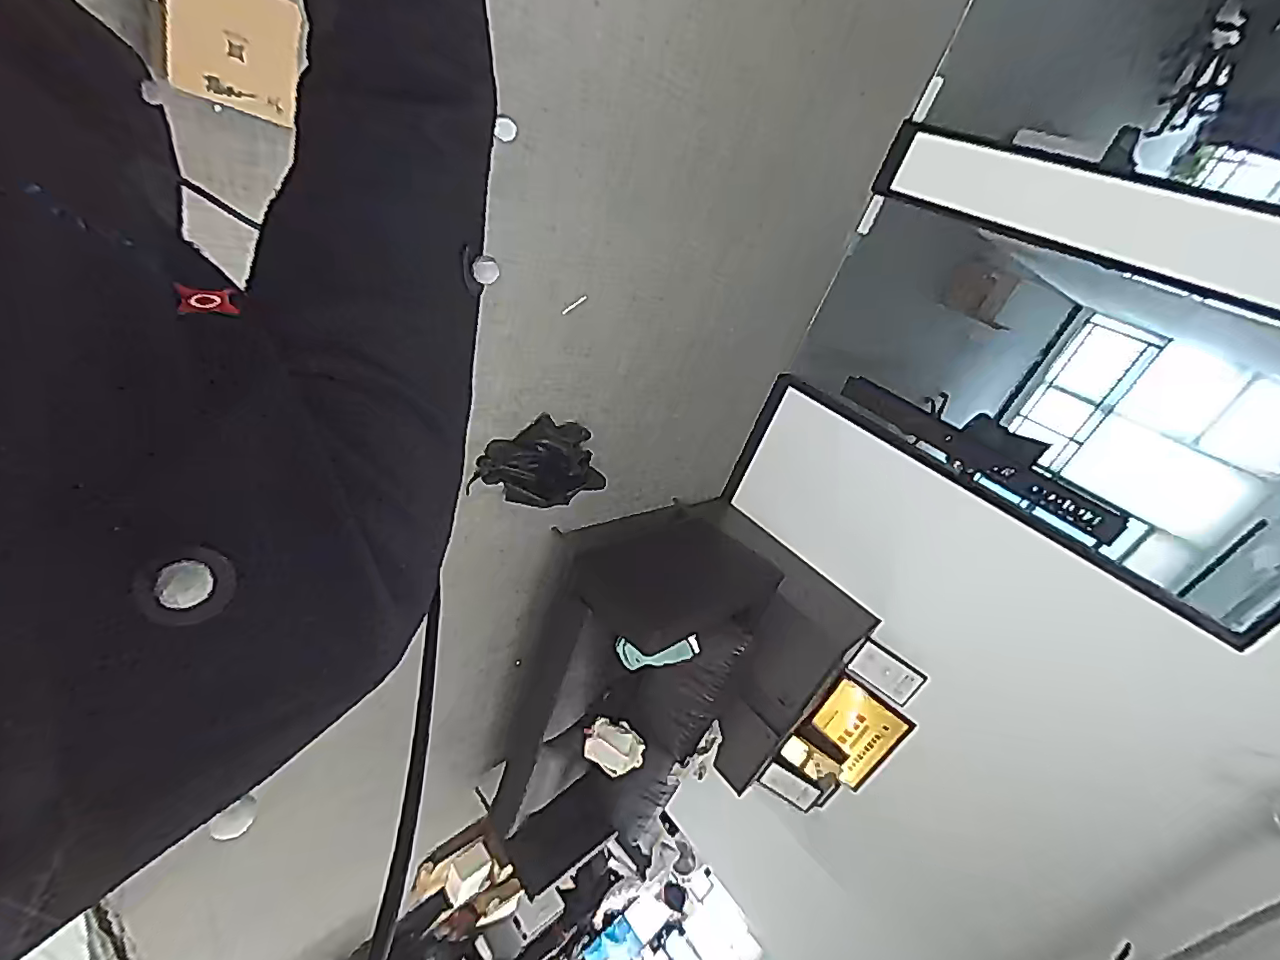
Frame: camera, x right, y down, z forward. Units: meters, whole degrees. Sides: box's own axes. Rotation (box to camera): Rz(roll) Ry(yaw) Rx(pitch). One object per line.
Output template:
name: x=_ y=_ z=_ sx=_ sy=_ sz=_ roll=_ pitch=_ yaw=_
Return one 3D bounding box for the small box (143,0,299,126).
small box: x=-0.667 y=-0.705 z=0.858 sx=0.168 sy=0.176 sz=0.179 roll=-8 pitch=129 yaw=-48
